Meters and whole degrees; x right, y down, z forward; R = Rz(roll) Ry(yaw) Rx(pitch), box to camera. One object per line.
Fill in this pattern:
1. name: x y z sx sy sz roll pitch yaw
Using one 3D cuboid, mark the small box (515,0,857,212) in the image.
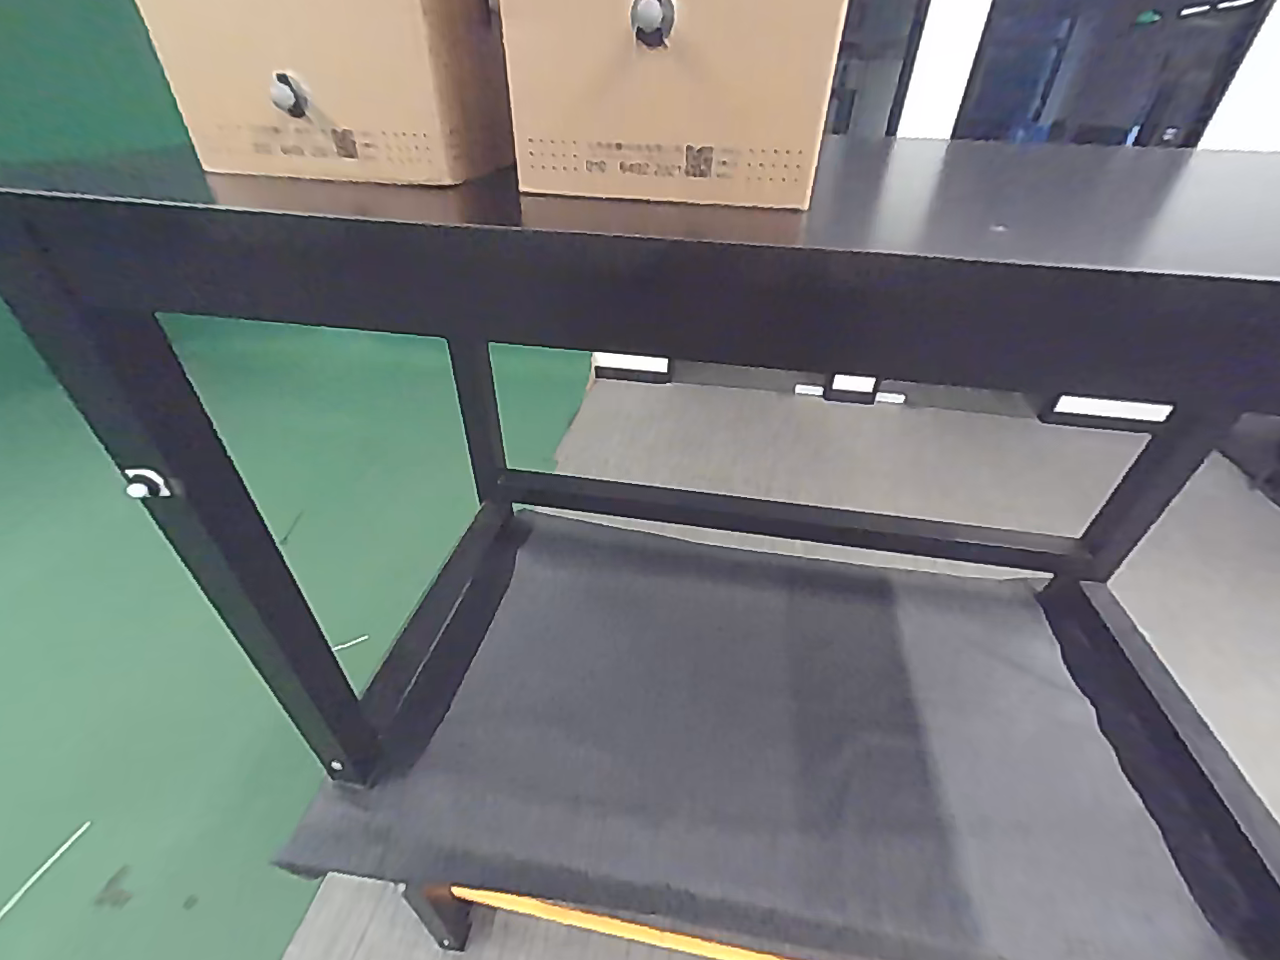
1. small box: 0.034 -0.266 0.318 0.168 0.176 0.179 8 37 8
